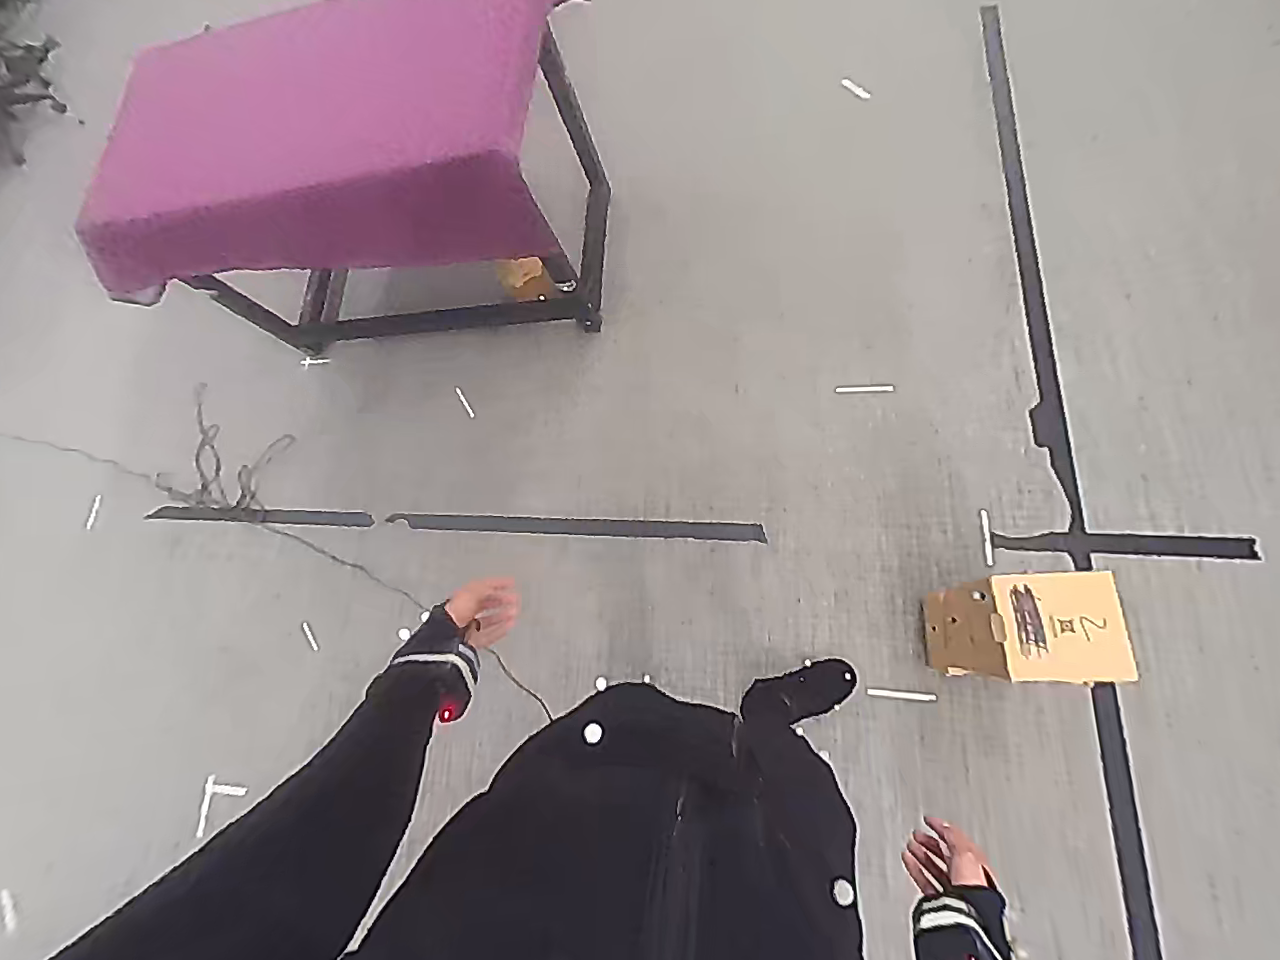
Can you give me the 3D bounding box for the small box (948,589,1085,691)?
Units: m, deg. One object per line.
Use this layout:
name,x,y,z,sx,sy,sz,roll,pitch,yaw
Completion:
small box,0.730,0.309,1.066,0.179,0.176,0.168,2,76,16

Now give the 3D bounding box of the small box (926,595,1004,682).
small box,0.759,0.356,1.220,0.168,0.176,0.179,-2,73,15
